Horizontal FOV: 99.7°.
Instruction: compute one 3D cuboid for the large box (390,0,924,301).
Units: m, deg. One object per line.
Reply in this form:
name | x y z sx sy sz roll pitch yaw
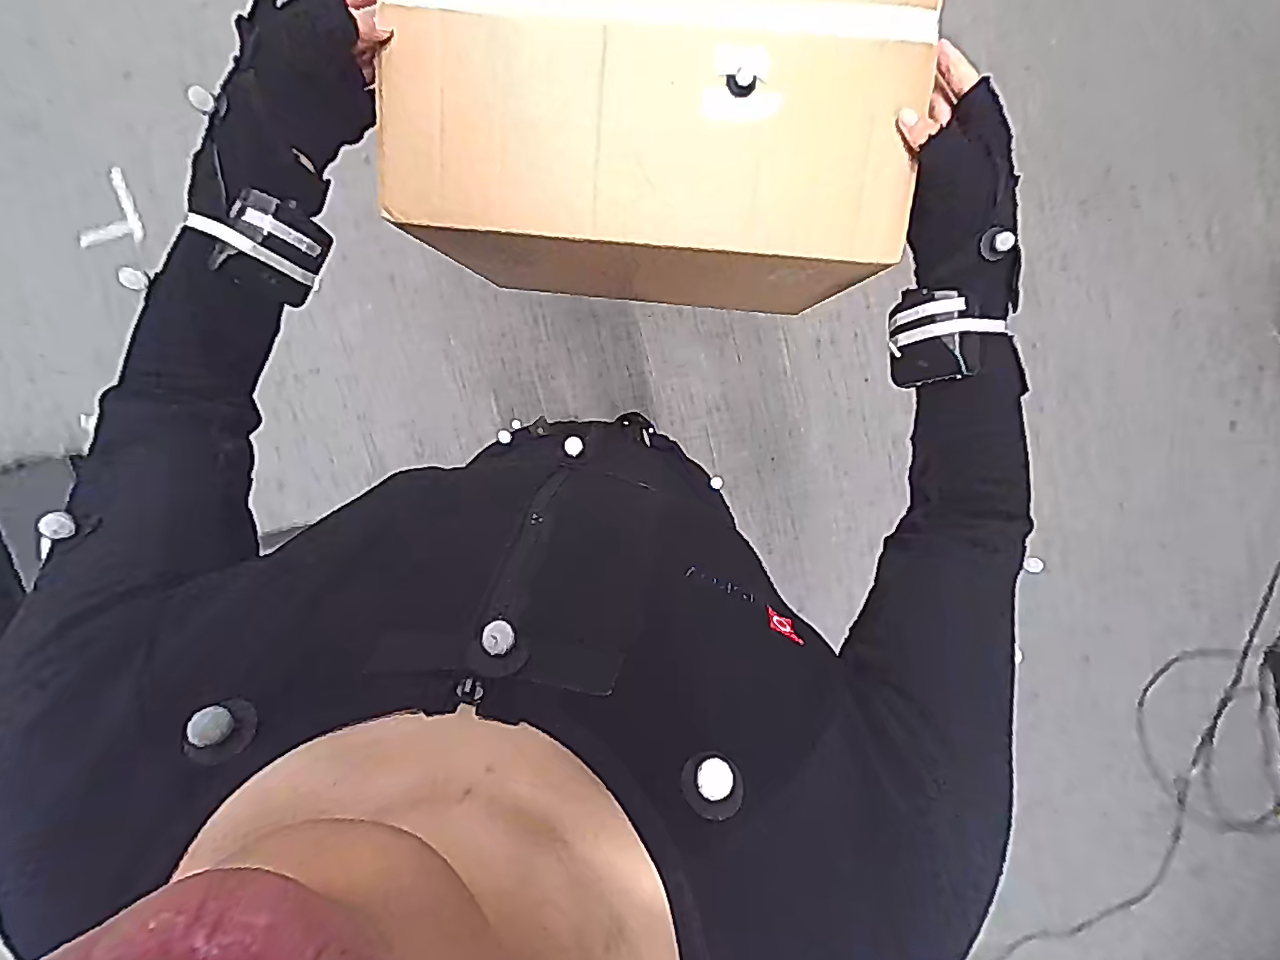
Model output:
large box | 0.012 -0.372 0.549 0.408 0.320 0.320 4 101 1
